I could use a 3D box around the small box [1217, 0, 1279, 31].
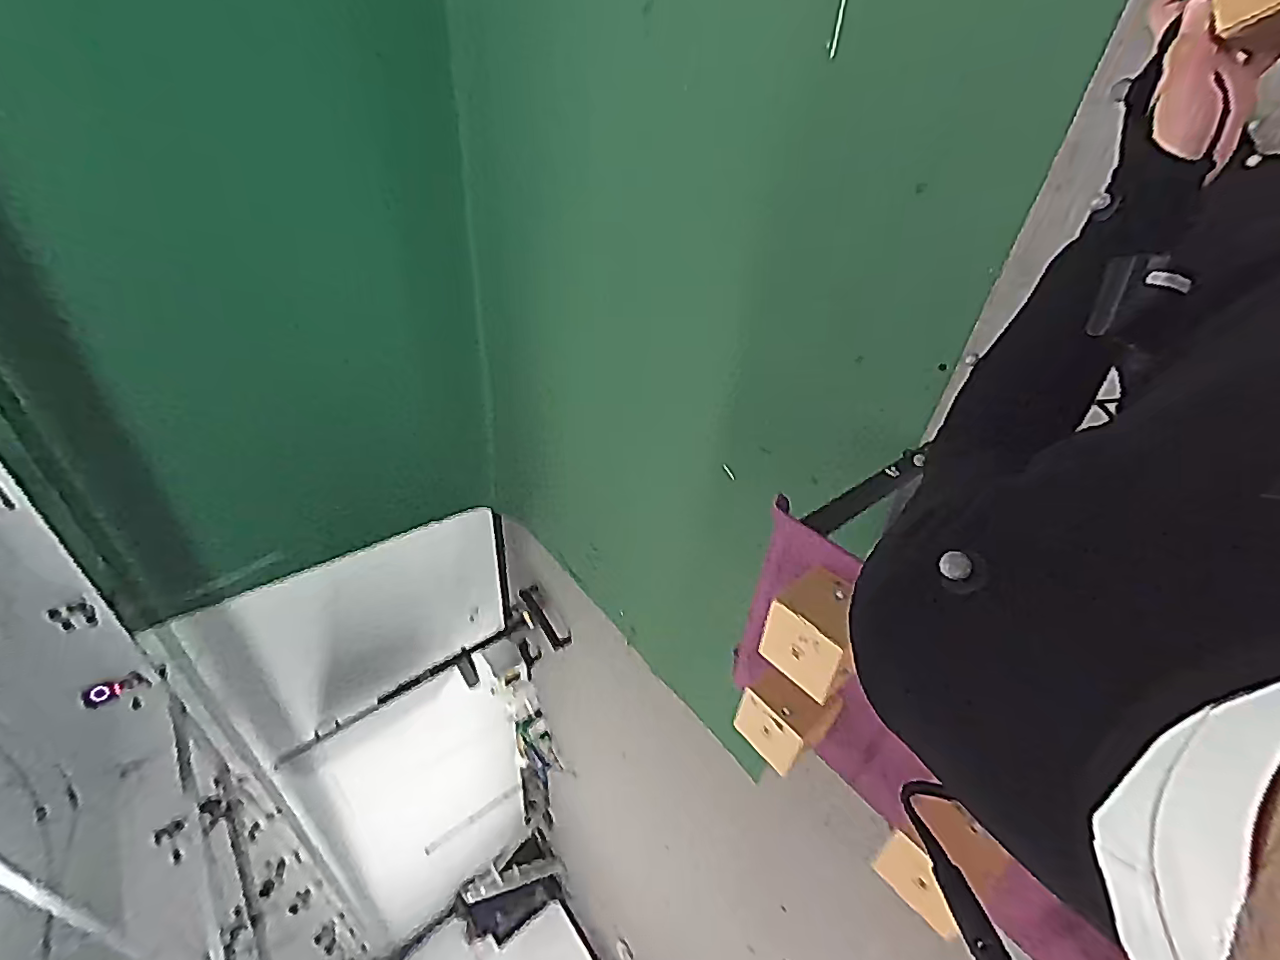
[{"bbox_3d":[0.425,-0.382,0.283,0.168,0.176,0.179,-3,110,55],"label":"small box"}]

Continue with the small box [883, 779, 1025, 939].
[{"bbox_3d":[0.632,0.756,1.089,0.168,0.176,0.179,36,135,38],"label":"small box"}]

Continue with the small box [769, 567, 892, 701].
[{"bbox_3d":[0.403,0.319,1.147,0.168,0.176,0.179,35,135,38],"label":"small box"}]

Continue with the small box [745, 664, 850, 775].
[{"bbox_3d":[0.387,0.570,1.328,0.168,0.176,0.179,37,137,37],"label":"small box"}]
